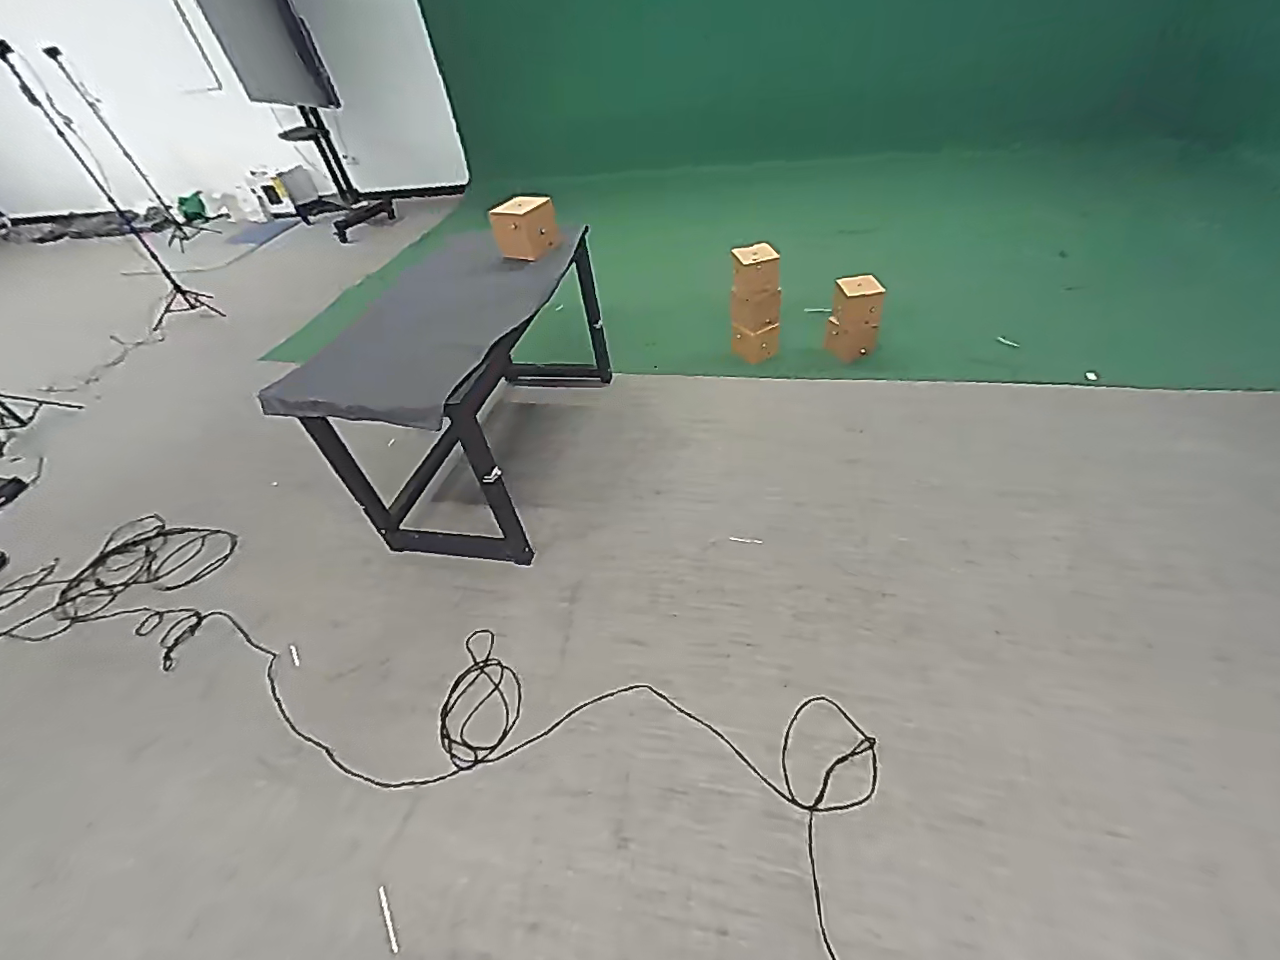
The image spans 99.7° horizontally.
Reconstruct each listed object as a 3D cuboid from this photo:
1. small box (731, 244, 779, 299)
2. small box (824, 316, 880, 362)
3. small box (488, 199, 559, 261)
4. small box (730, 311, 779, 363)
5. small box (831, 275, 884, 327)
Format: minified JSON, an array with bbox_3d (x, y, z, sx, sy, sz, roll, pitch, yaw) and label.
[{"bbox_3d":[0.518,-0.946,2.451,0.168,0.176,0.179,-14,44,-3],"label":"small box"},{"bbox_3d":[1.000,-0.687,2.567,0.168,0.176,0.179,-23,46,-12],"label":"small box"},{"bbox_3d":[-0.433,-0.942,2.040,0.179,0.176,0.168,18,51,30],"label":"small box"},{"bbox_3d":[0.565,-0.699,2.664,0.168,0.176,0.179,-28,46,-17],"label":"small box"},{"bbox_3d":[0.984,-0.808,2.459,0.168,0.176,0.179,-8,43,1],"label":"small box"}]
